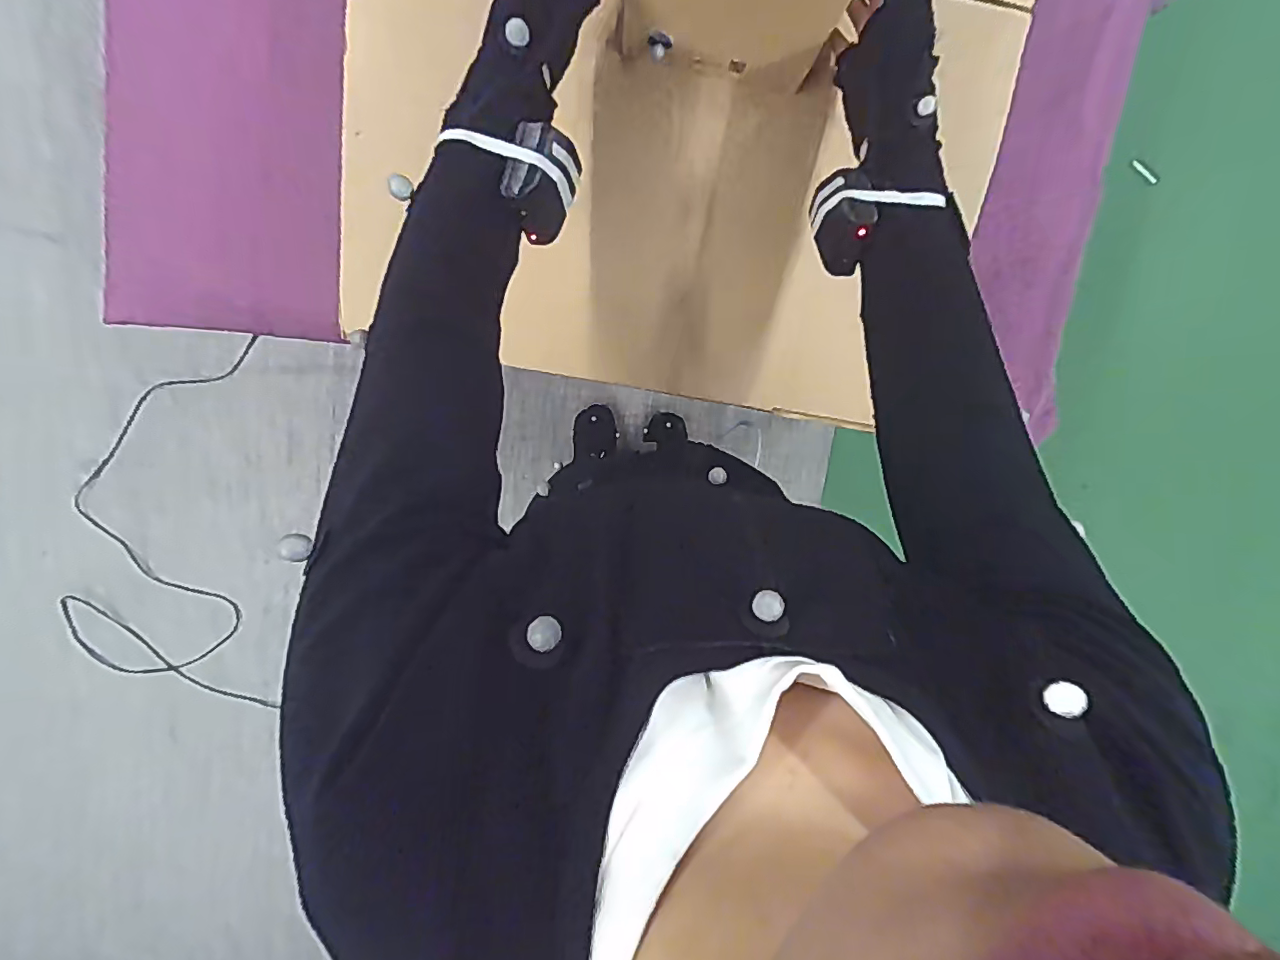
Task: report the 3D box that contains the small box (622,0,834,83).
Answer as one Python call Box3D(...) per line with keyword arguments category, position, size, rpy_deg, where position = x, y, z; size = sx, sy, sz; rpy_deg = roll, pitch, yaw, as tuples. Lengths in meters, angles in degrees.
Box3D(category="small box", position=(0.079, -0.446, 0.404), size=(0.168, 0.176, 0.179), rpy_deg=(9, 96, -4))
